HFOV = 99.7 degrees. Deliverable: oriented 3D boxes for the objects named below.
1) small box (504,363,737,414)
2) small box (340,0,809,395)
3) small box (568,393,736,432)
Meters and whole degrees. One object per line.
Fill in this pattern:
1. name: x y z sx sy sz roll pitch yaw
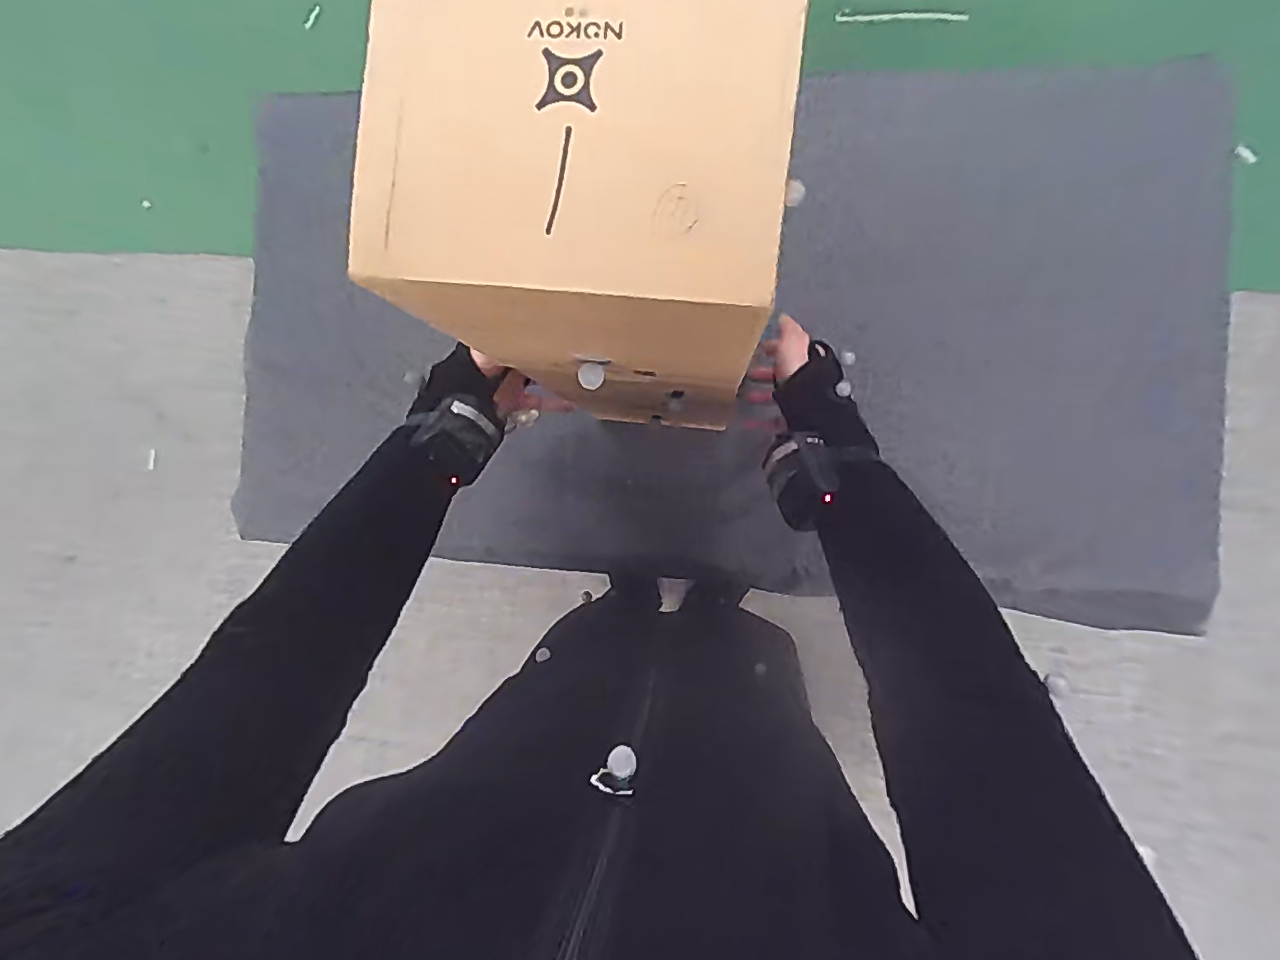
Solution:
1. small box: 0.003 -0.152 0.441 0.168 0.176 0.179 4 89 7
2. small box: -0.016 -0.149 0.277 0.168 0.176 0.179 6 91 7
3. small box: 0.028 -0.150 0.601 0.168 0.176 0.179 5 90 8
